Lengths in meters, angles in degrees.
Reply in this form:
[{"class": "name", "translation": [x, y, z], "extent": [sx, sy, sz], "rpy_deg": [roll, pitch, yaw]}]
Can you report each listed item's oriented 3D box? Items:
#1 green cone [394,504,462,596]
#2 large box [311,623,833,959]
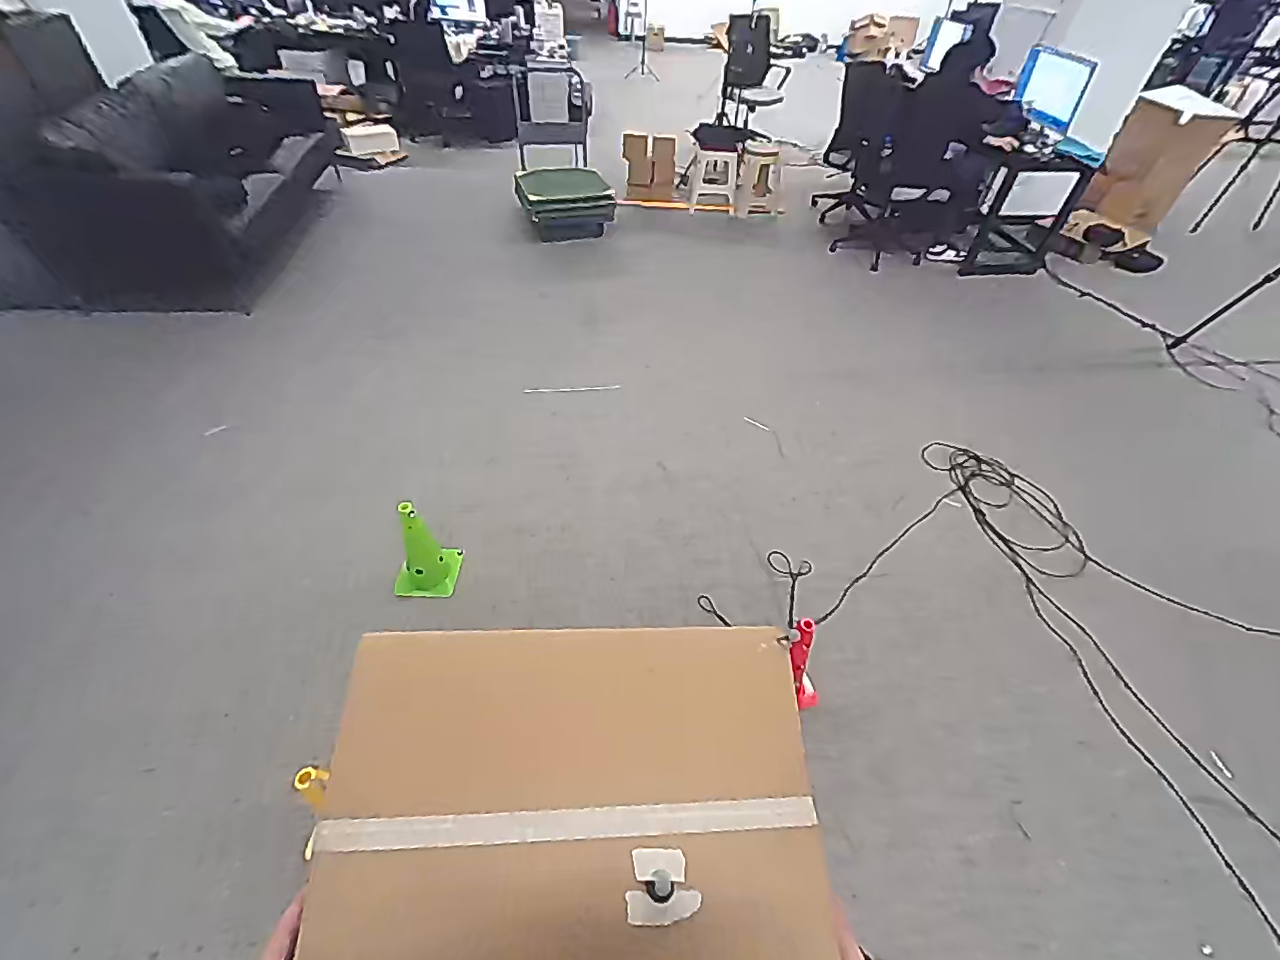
[{"class": "green cone", "translation": [-0.738, 0.205, 1.782], "extent": [0.200, 0.368, 0.202], "rpy_deg": [2, 47, -2]}, {"class": "large box", "translation": [-0.065, 0.351, 0.588], "extent": [0.408, 0.320, 0.320], "rpy_deg": [1, 62, -5]}]
